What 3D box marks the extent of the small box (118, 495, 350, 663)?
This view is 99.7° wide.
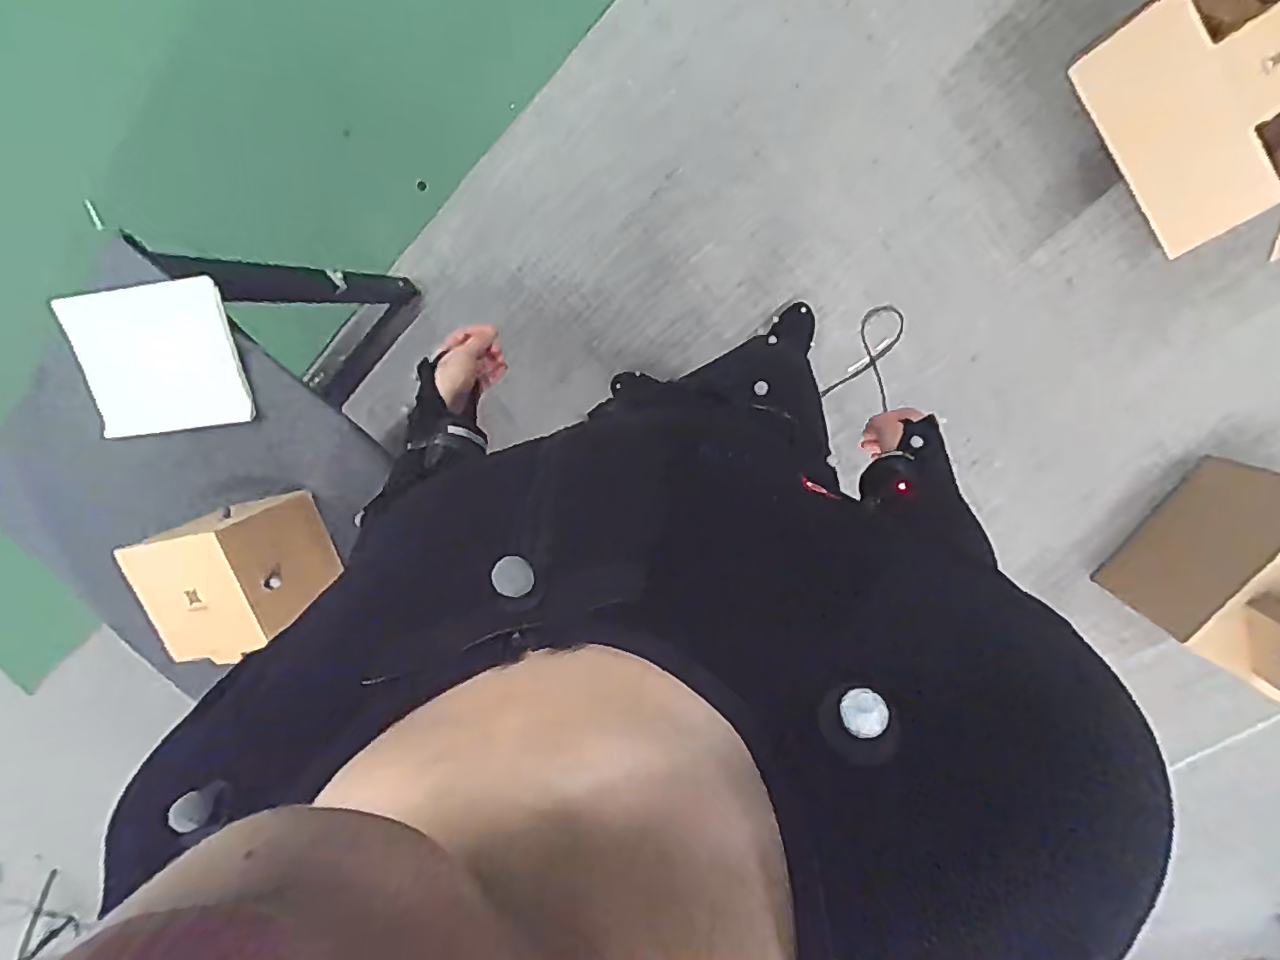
[{"bbox_3d":[-0.564,0.131,0.778,0.168,0.176,0.179,-11,107,11],"label":"small box"}]

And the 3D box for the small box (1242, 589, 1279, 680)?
[{"bbox_3d":[1.333,0.312,1.043,0.168,0.176,0.179,-19,102,13],"label":"small box"}]
